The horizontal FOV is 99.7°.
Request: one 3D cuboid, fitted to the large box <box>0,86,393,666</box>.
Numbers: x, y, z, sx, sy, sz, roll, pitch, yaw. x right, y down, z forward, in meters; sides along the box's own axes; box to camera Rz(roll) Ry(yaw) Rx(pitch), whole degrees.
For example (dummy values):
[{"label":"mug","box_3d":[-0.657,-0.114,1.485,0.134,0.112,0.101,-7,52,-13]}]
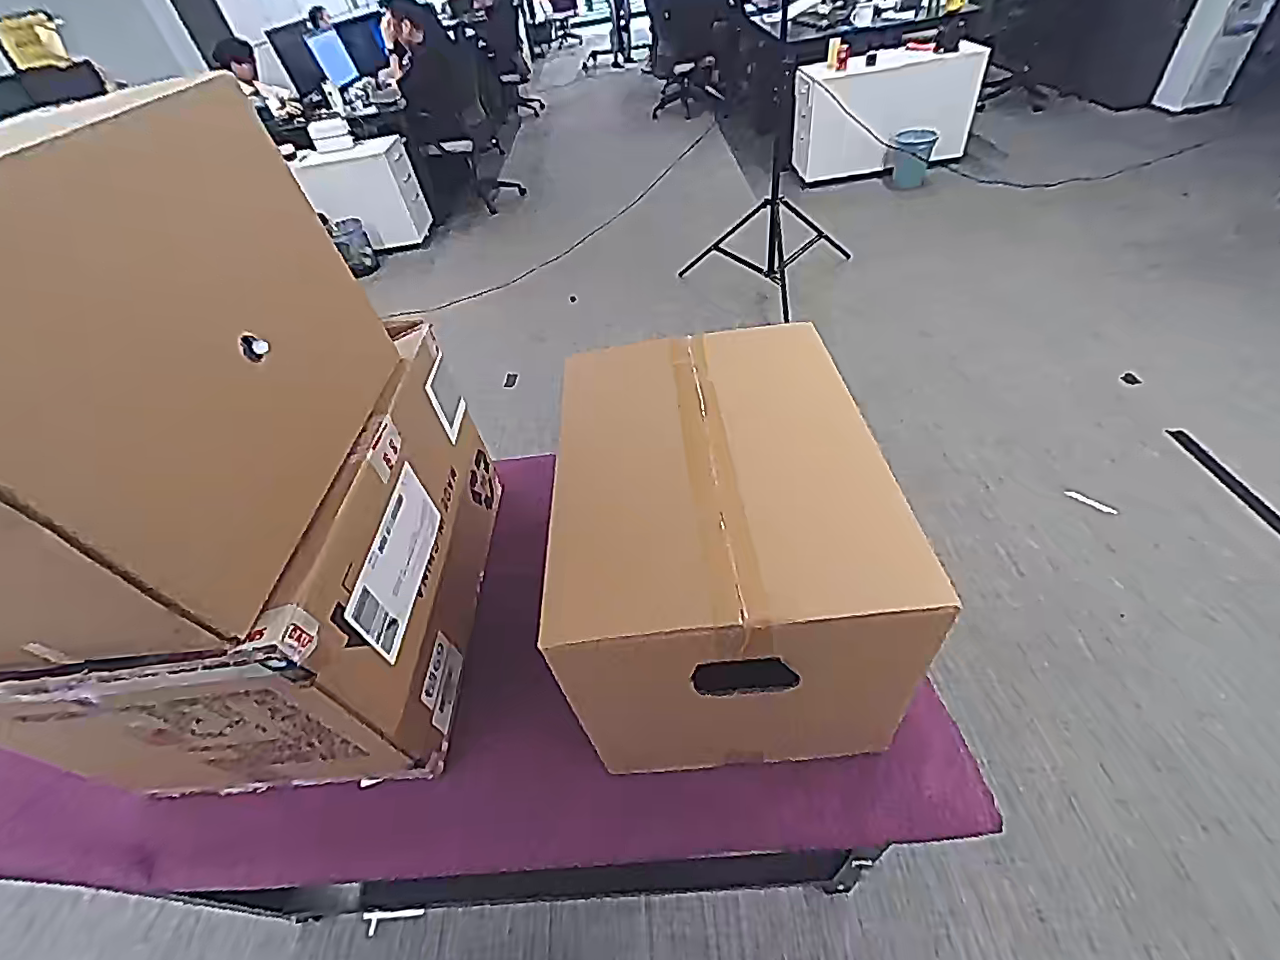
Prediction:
[{"label":"large box","box_3d":[-0.487,-0.097,0.486,0.320,0.320,0.408,-9,46,8]}]
